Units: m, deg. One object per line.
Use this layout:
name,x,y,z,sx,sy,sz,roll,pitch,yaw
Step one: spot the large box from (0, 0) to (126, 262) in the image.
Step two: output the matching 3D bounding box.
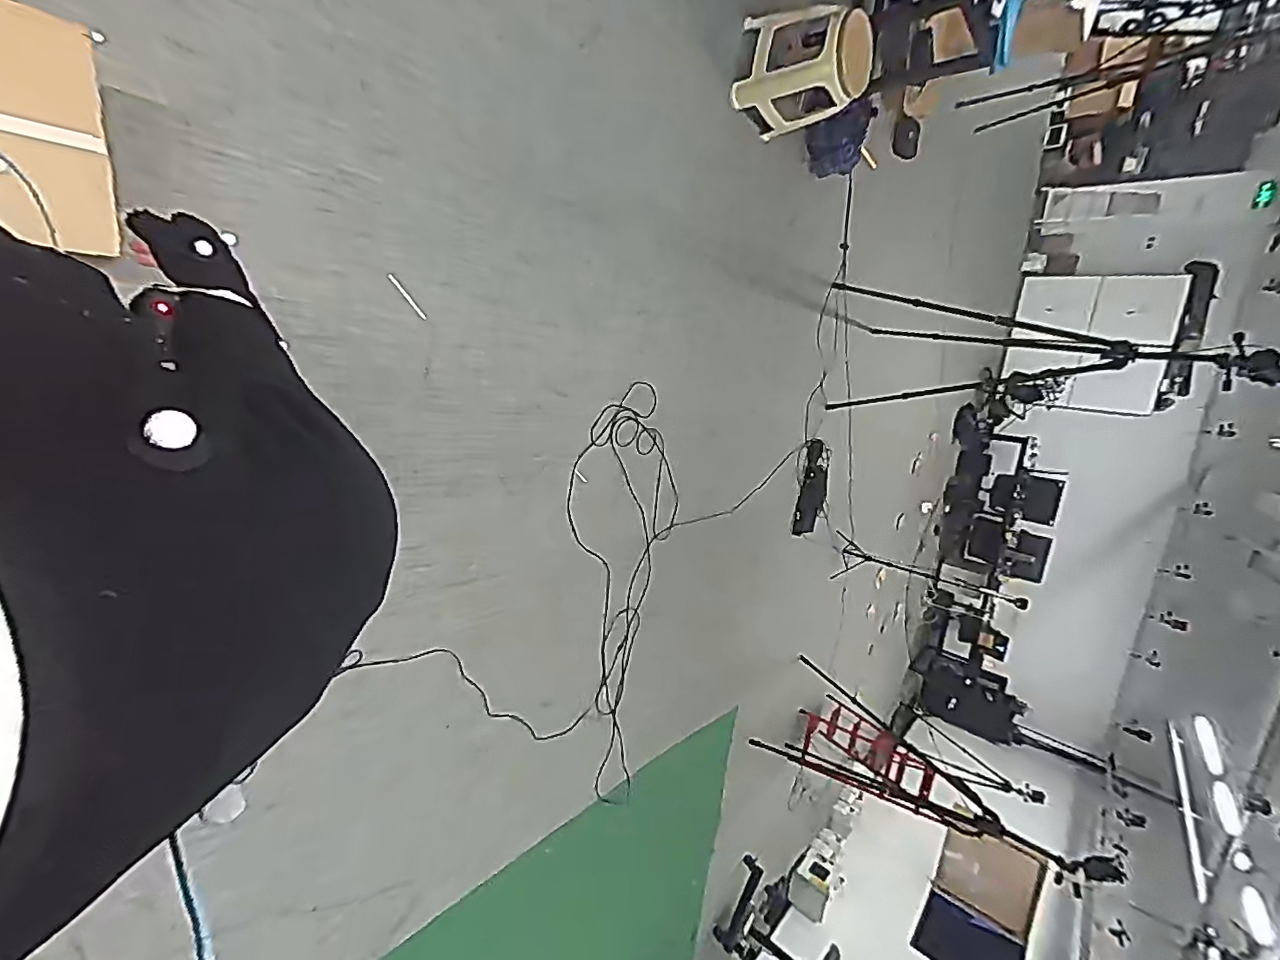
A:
large box,-1.040,-0.508,0.763,0.408,0.320,0.320,-10,110,-47
